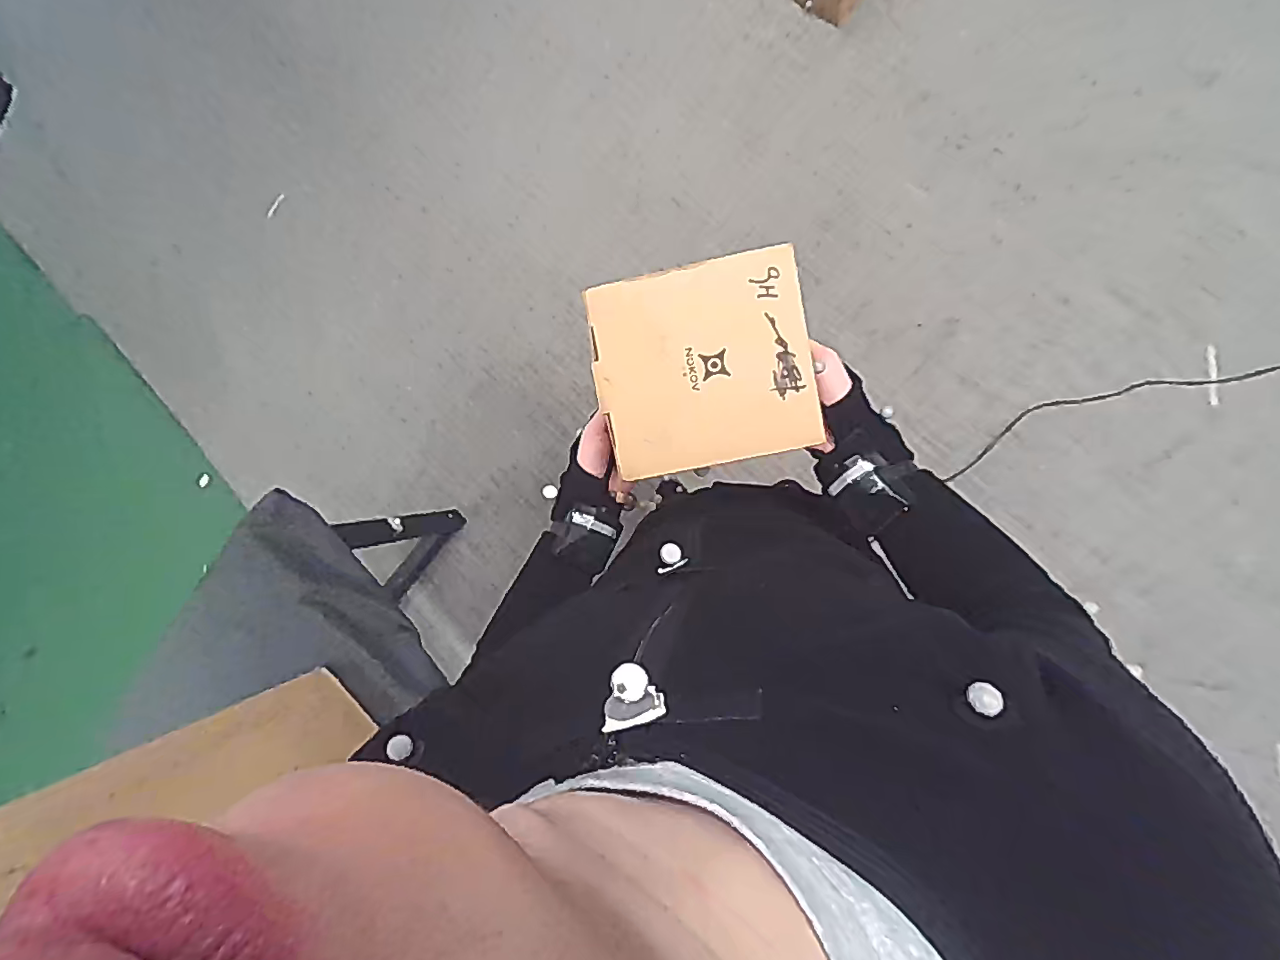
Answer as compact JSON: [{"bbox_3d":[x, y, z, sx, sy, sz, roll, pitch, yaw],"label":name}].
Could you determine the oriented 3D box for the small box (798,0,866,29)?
[{"bbox_3d":[0.512,-1.313,1.365,0.168,0.176,0.179,42,102,13],"label":"small box"}]
